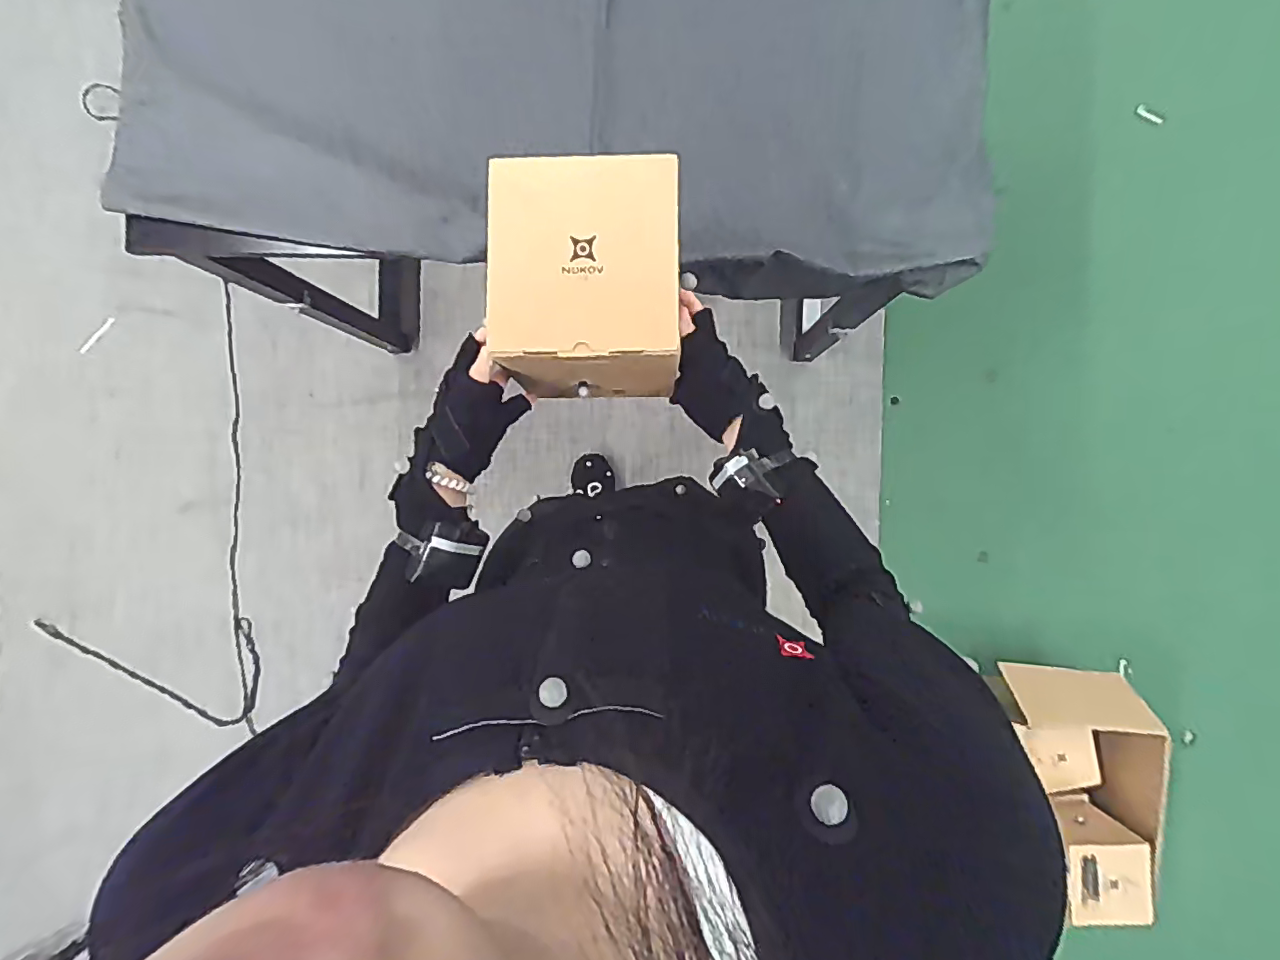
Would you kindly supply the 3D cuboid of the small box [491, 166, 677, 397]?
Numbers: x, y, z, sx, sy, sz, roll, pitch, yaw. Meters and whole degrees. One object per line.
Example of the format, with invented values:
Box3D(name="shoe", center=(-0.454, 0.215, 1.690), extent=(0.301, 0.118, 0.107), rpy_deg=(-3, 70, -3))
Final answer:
Box3D(name="small box", center=(-0.048, -0.189, 0.558), extent=(0.168, 0.176, 0.179), rpy_deg=(0, 88, 1))
